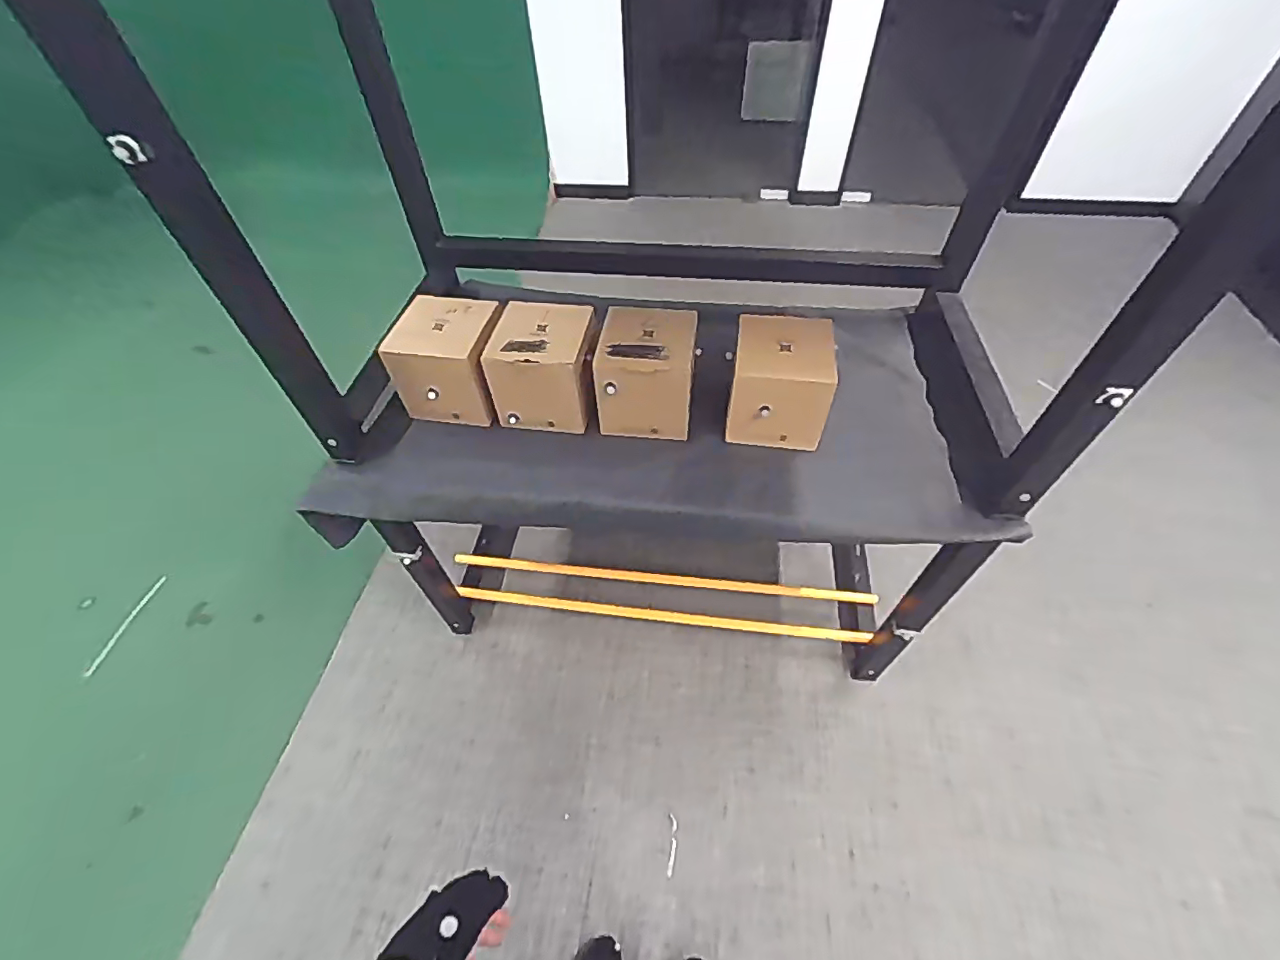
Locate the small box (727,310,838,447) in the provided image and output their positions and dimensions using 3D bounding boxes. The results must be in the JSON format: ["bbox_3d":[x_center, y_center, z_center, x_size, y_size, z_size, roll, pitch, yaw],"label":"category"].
[{"bbox_3d":[0.250,-0.180,0.974,0.168,0.176,0.179,7,51,7],"label":"small box"}]

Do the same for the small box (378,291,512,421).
[{"bbox_3d":[-0.356,-0.233,1.033,0.168,0.176,0.179,8,52,6],"label":"small box"}]
